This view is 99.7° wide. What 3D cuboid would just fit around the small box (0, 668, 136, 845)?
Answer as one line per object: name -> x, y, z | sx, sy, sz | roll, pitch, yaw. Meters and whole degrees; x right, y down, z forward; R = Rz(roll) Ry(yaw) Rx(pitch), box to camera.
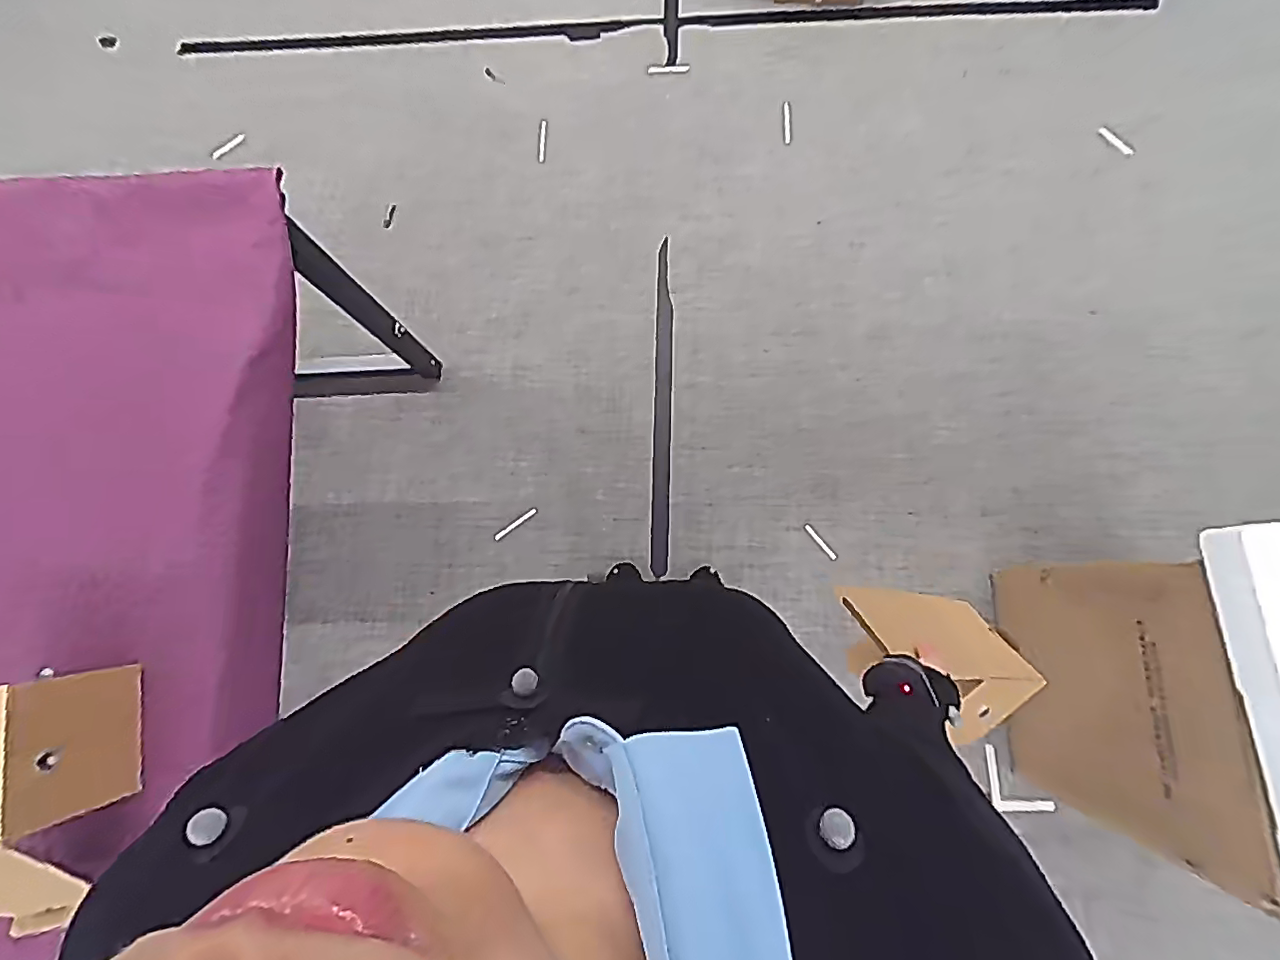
small box -> -0.803, 0.355, 0.694 | 0.168, 0.176, 0.179 | -10, 78, 0
